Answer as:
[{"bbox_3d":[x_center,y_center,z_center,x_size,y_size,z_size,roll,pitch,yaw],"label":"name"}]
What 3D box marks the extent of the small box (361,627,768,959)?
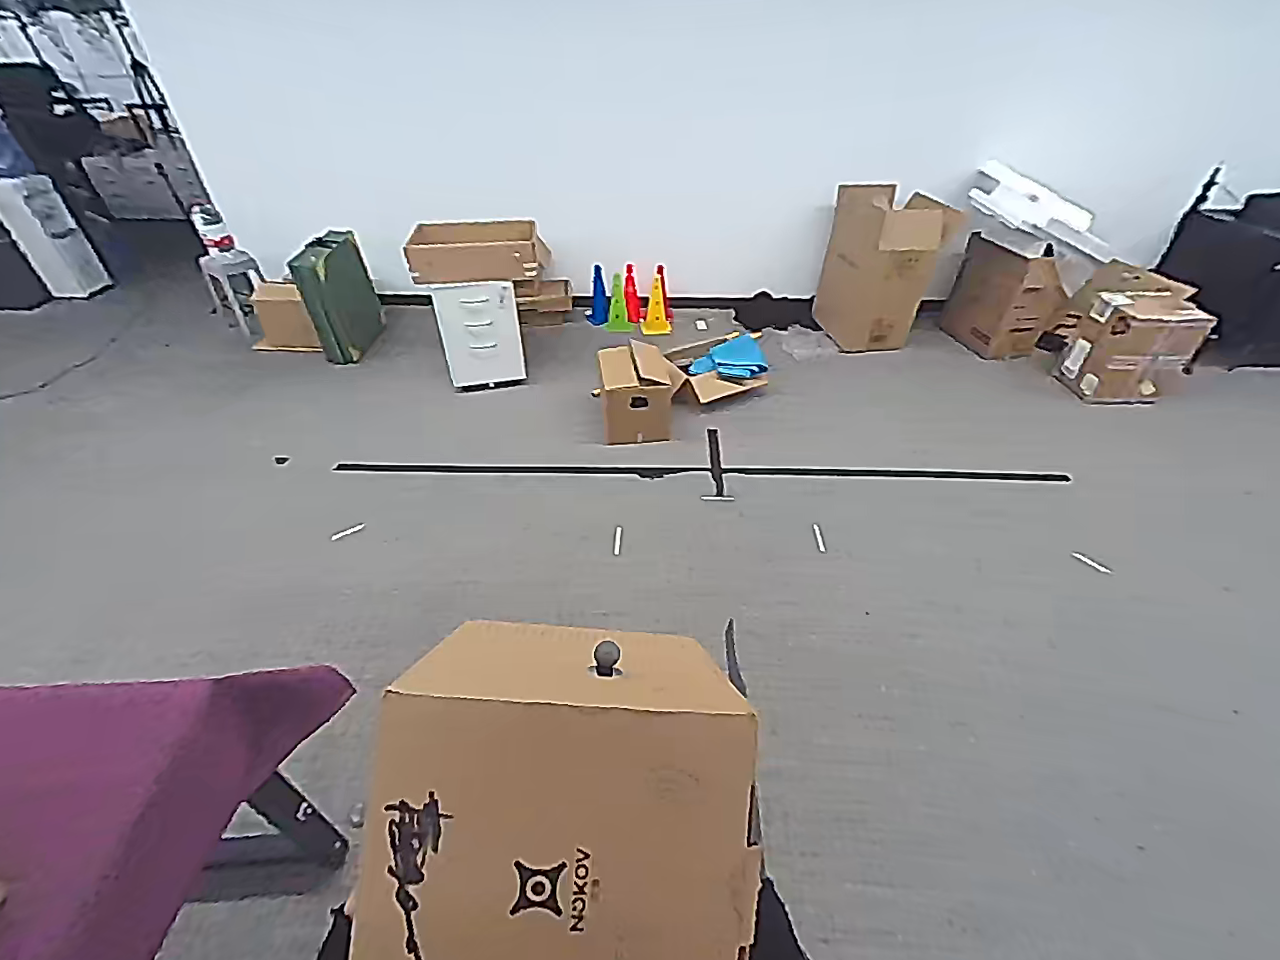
[{"bbox_3d":[-0.040,0.190,0.323,0.179,0.168,0.176,6,-5,-5],"label":"small box"}]
